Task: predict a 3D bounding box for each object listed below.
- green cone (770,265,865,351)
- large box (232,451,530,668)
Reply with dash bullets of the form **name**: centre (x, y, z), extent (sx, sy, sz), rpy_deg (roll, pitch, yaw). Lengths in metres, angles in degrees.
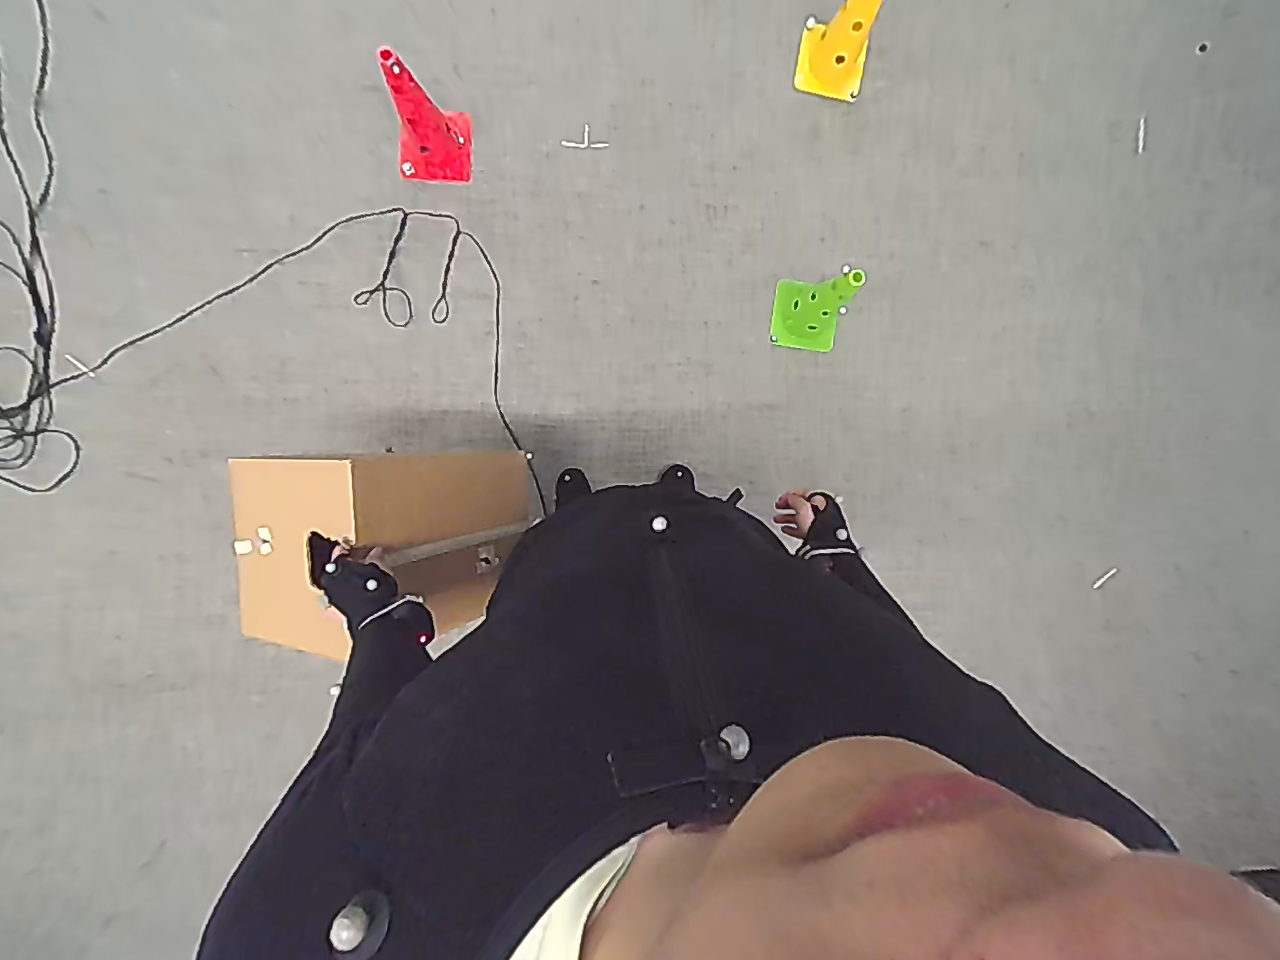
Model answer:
- **green cone**: centre (0.513, -0.496, 1.477), extent (0.200, 0.368, 0.202), rpy_deg (6, 91, -5)
- **large box**: centre (-0.461, 0.112, 1.031), extent (0.320, 0.408, 0.320), rpy_deg (1, 96, 25)
